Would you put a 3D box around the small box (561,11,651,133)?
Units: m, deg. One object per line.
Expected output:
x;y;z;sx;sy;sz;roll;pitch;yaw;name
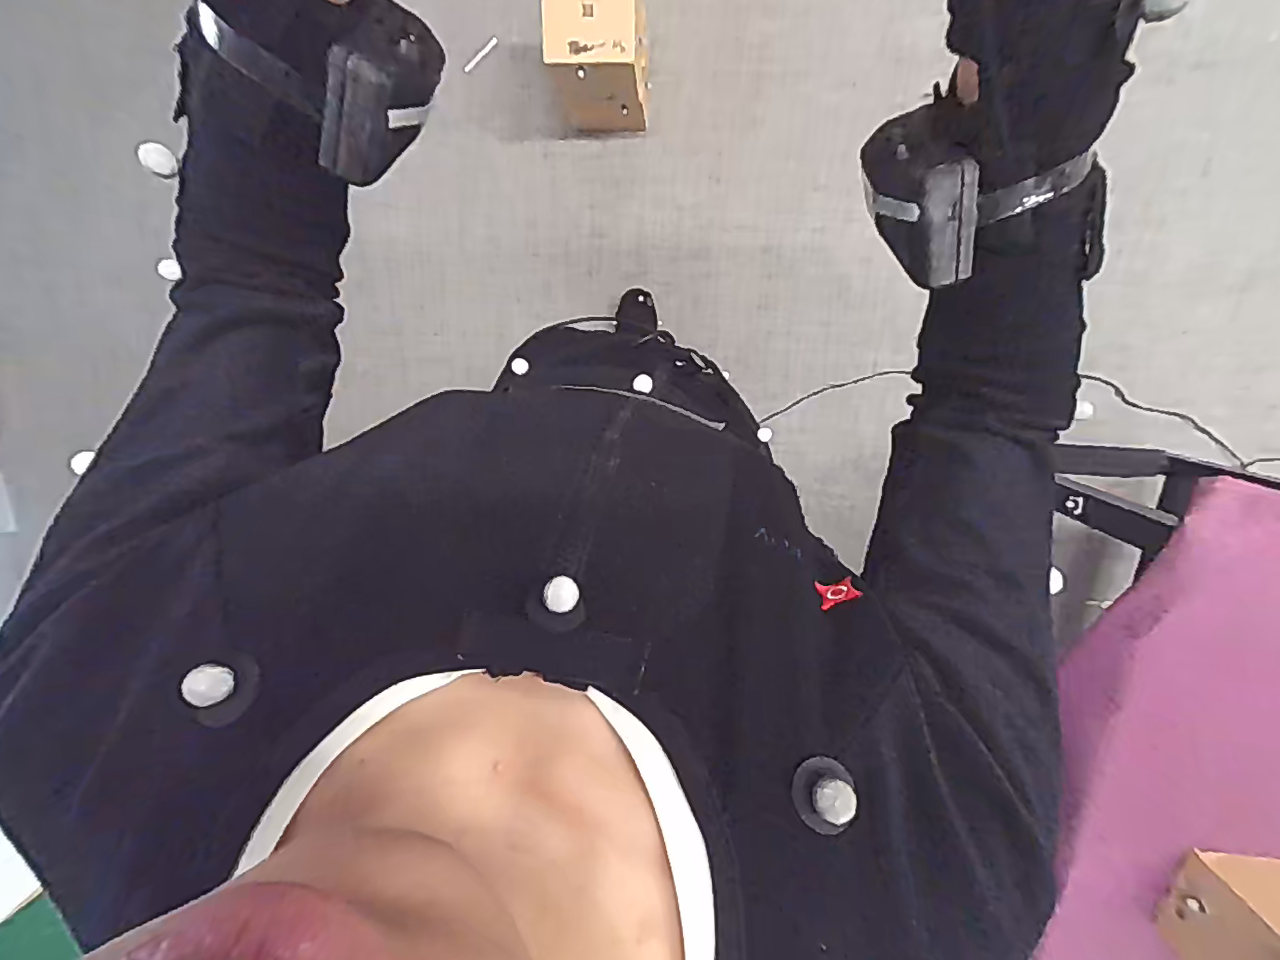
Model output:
-0.070;-0.878;1.179;0.179;0.176;0.168;2;104;3;small box

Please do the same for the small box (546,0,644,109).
-0.080;-0.838;1.020;0.168;0.176;0.179;2;103;3;small box

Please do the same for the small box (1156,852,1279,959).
0.911;0.669;0.764;0.179;0.176;0.168;8;104;2;small box
